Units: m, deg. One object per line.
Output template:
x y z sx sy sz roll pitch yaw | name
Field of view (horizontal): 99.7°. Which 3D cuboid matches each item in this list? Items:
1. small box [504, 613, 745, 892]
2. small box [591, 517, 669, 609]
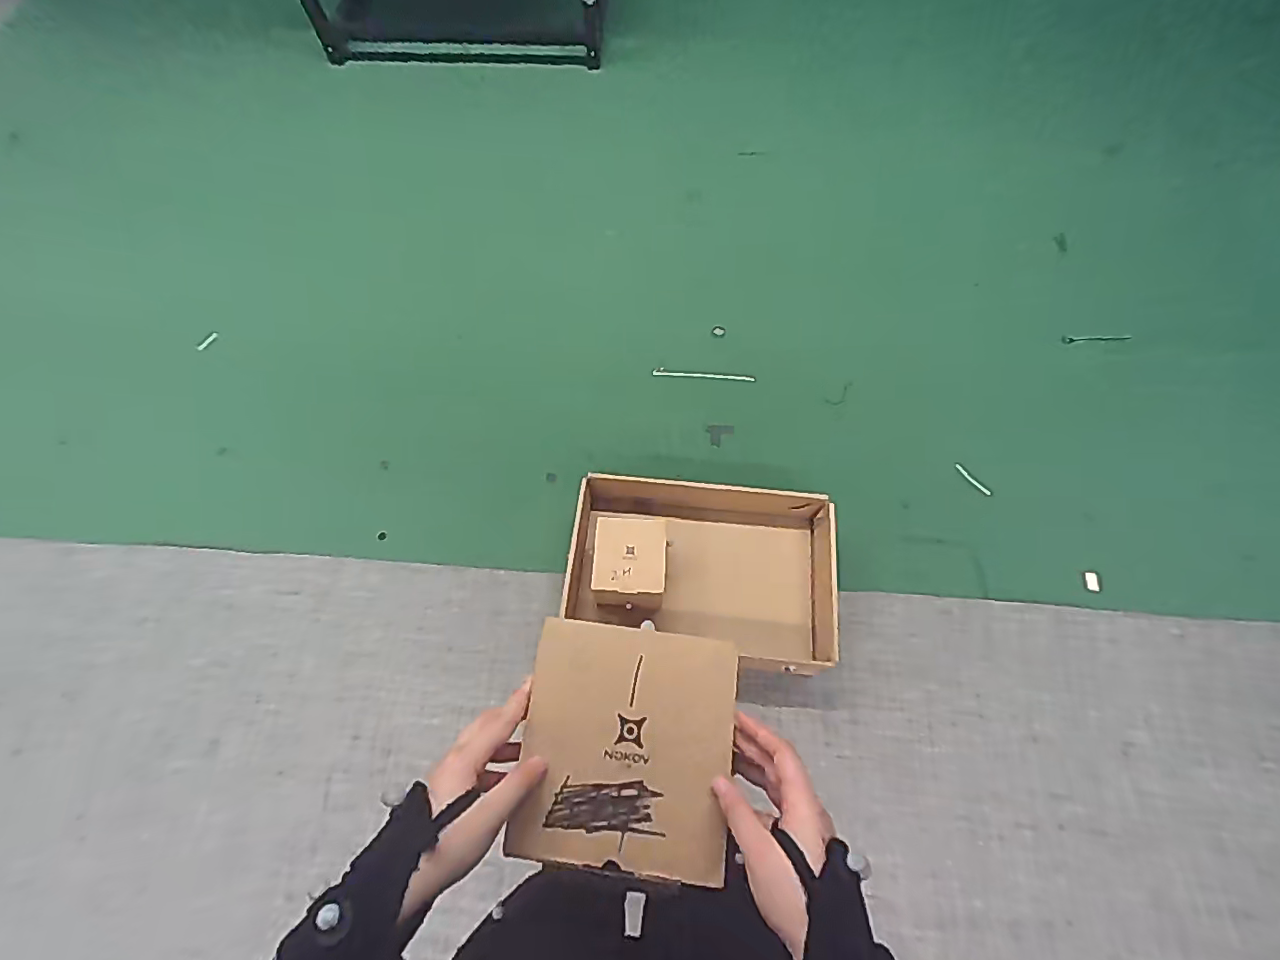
-0.008 0.231 0.494 0.168 0.176 0.179 9 69 2 | small box
-0.021 0.202 1.295 0.168 0.176 0.179 3 67 2 | small box
